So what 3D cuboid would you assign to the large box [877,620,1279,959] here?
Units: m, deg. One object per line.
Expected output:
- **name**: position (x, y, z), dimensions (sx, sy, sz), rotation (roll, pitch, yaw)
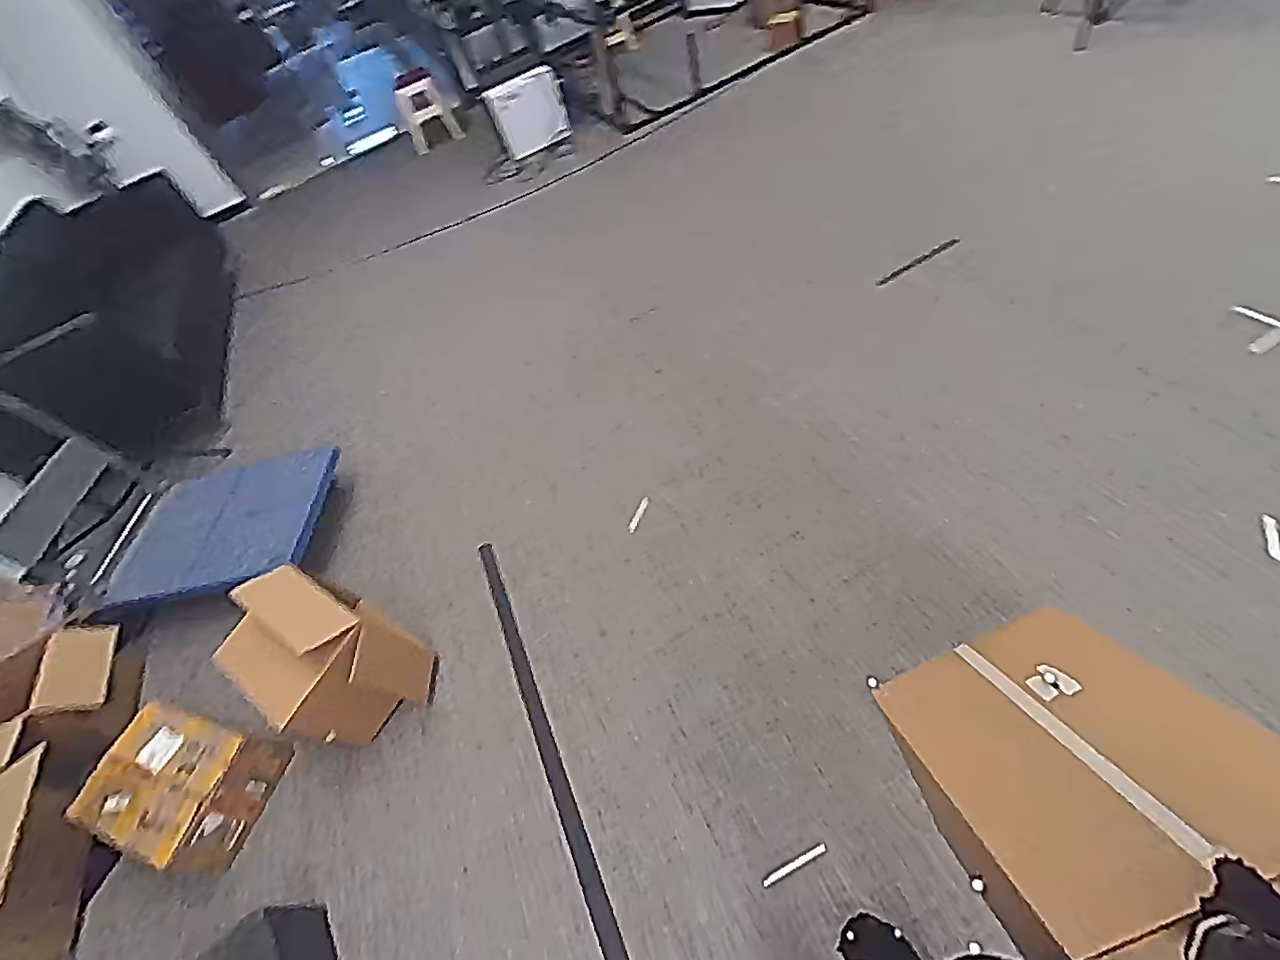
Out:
- **large box**: position (0.594, 0.458, 0.698), dimensions (0.320, 0.320, 0.408), rotation (-26, 12, 4)
